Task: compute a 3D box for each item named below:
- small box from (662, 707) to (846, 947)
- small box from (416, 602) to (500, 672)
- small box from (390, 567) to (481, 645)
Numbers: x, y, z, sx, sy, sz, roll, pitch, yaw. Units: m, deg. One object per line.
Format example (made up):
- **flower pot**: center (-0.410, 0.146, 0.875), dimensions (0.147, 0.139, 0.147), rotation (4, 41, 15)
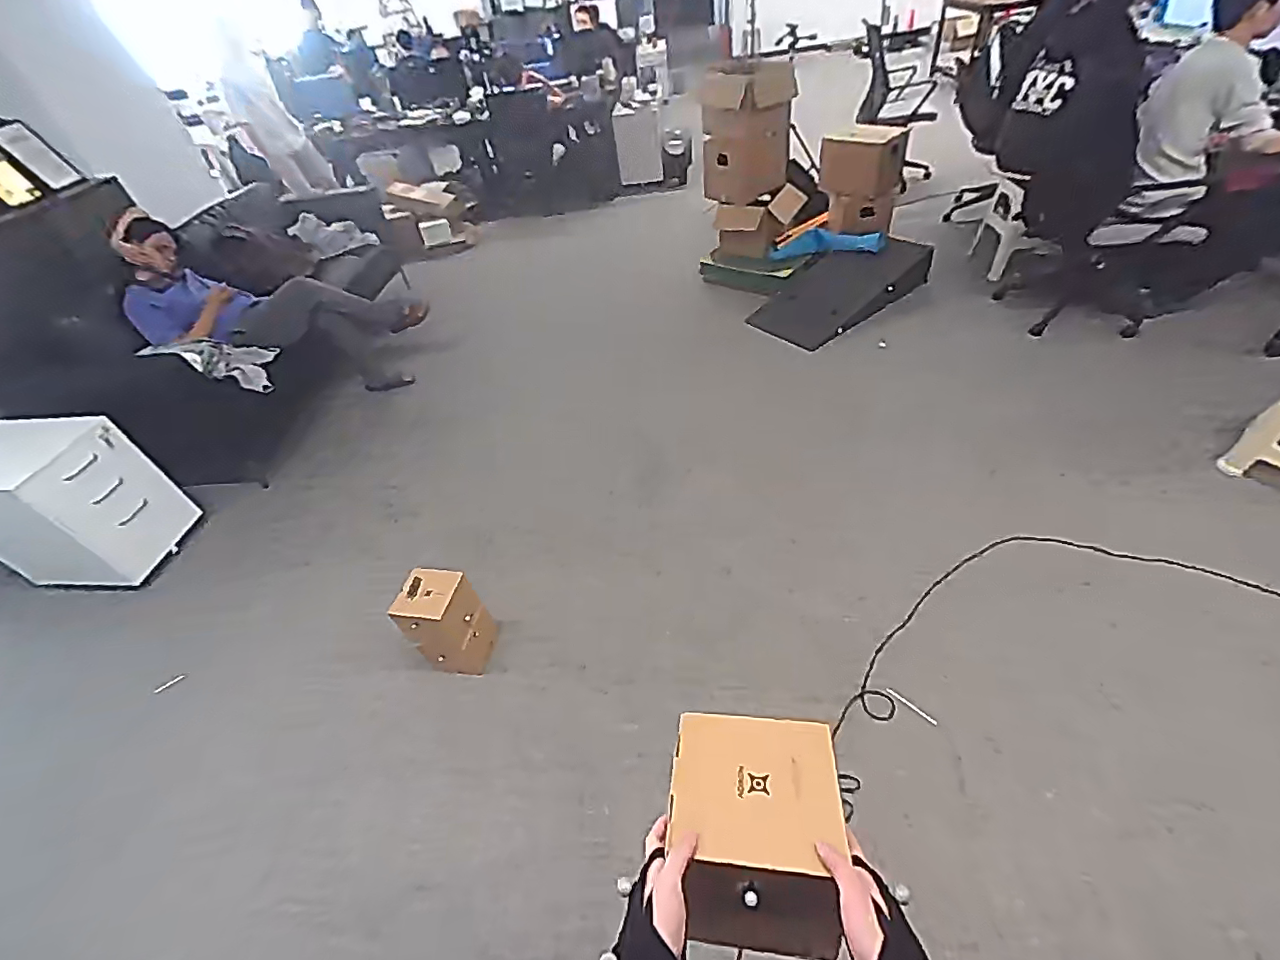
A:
- **small box**: center (0.124, 0.388, 0.616), dimensions (0.179, 0.176, 0.168), rotation (1, 28, 9)
- **small box**: center (-0.587, 0.509, 1.765), dimensions (0.179, 0.176, 0.168), rotation (1, 43, 13)
- **small box**: center (-0.617, 0.388, 1.657), dimensions (0.179, 0.176, 0.168), rotation (3, 44, 13)
